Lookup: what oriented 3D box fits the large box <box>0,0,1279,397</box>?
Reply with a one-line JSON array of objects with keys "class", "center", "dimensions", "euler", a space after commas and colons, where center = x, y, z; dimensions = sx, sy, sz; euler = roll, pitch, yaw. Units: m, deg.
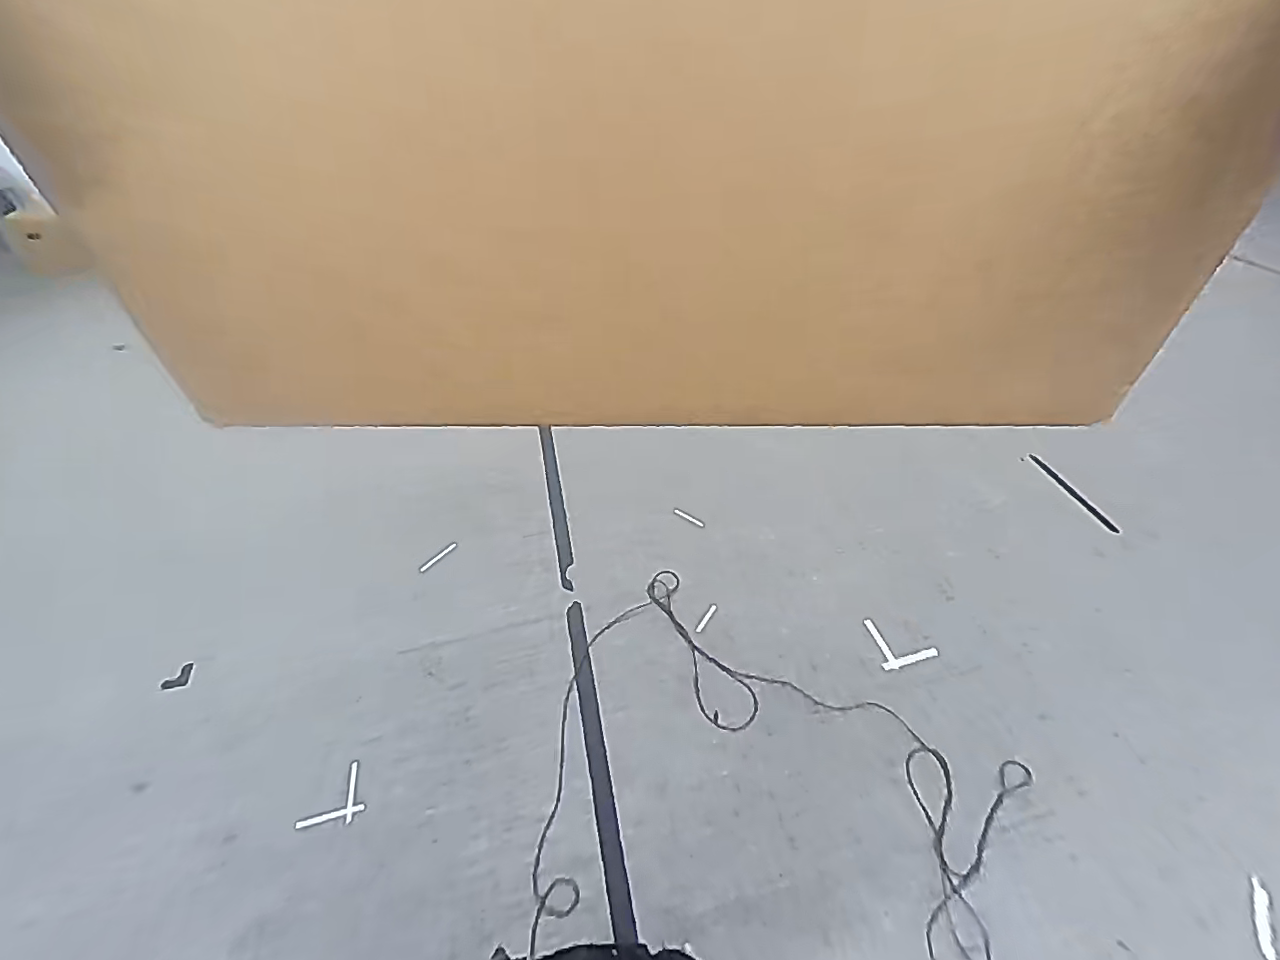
[{"class": "large box", "center": [0.004, -0.247, 0.255], "dimensions": [0.408, 0.320, 0.320], "euler": [1, 44, 1]}]
